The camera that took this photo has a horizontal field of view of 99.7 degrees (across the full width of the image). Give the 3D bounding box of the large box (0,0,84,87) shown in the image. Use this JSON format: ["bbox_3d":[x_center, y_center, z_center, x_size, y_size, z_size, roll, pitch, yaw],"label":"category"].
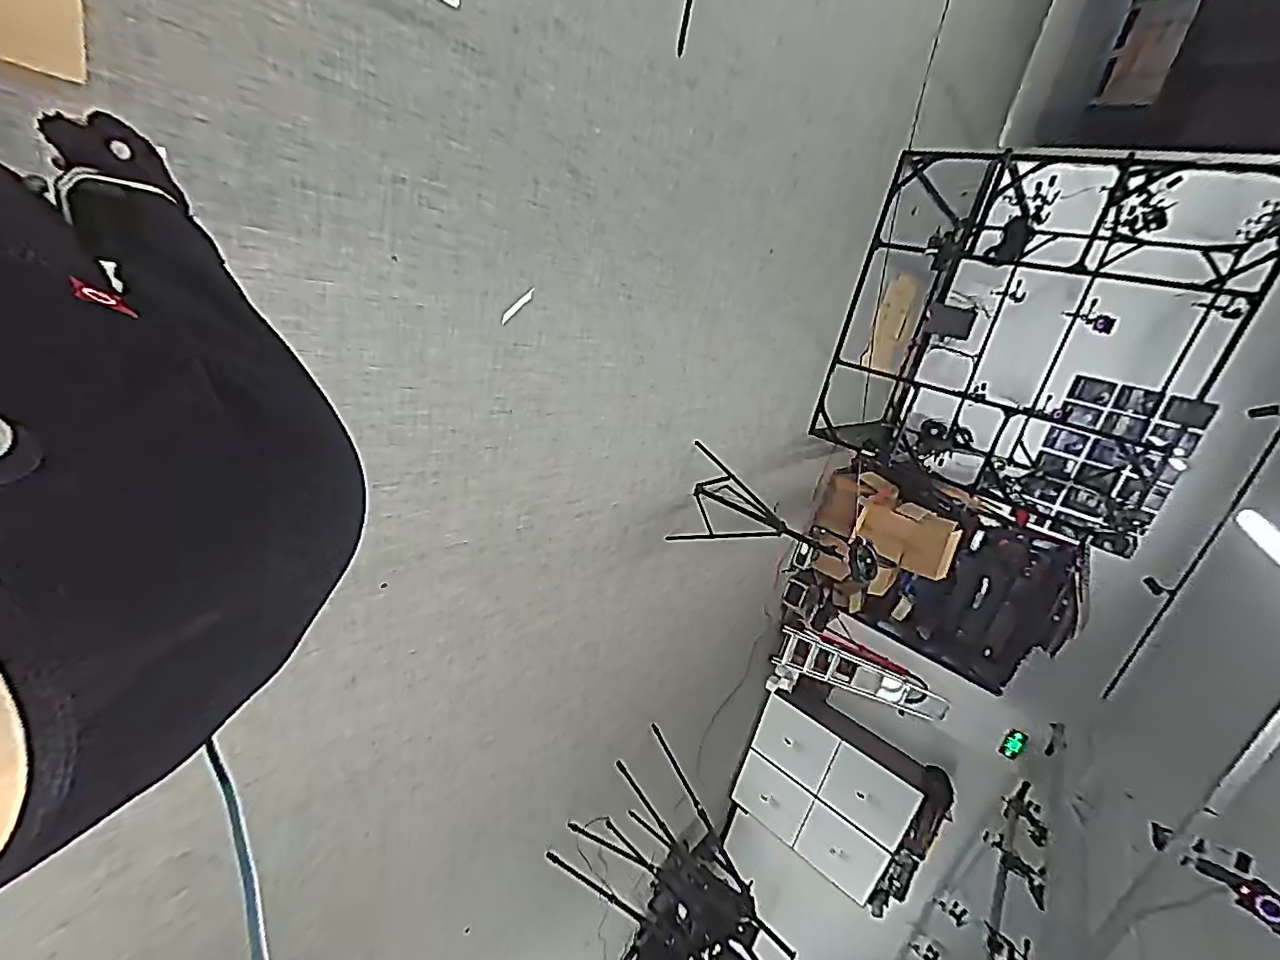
[{"bbox_3d":[-0.985,-0.724,0.635,0.408,0.320,0.320,-12,121,-51],"label":"large box"}]
